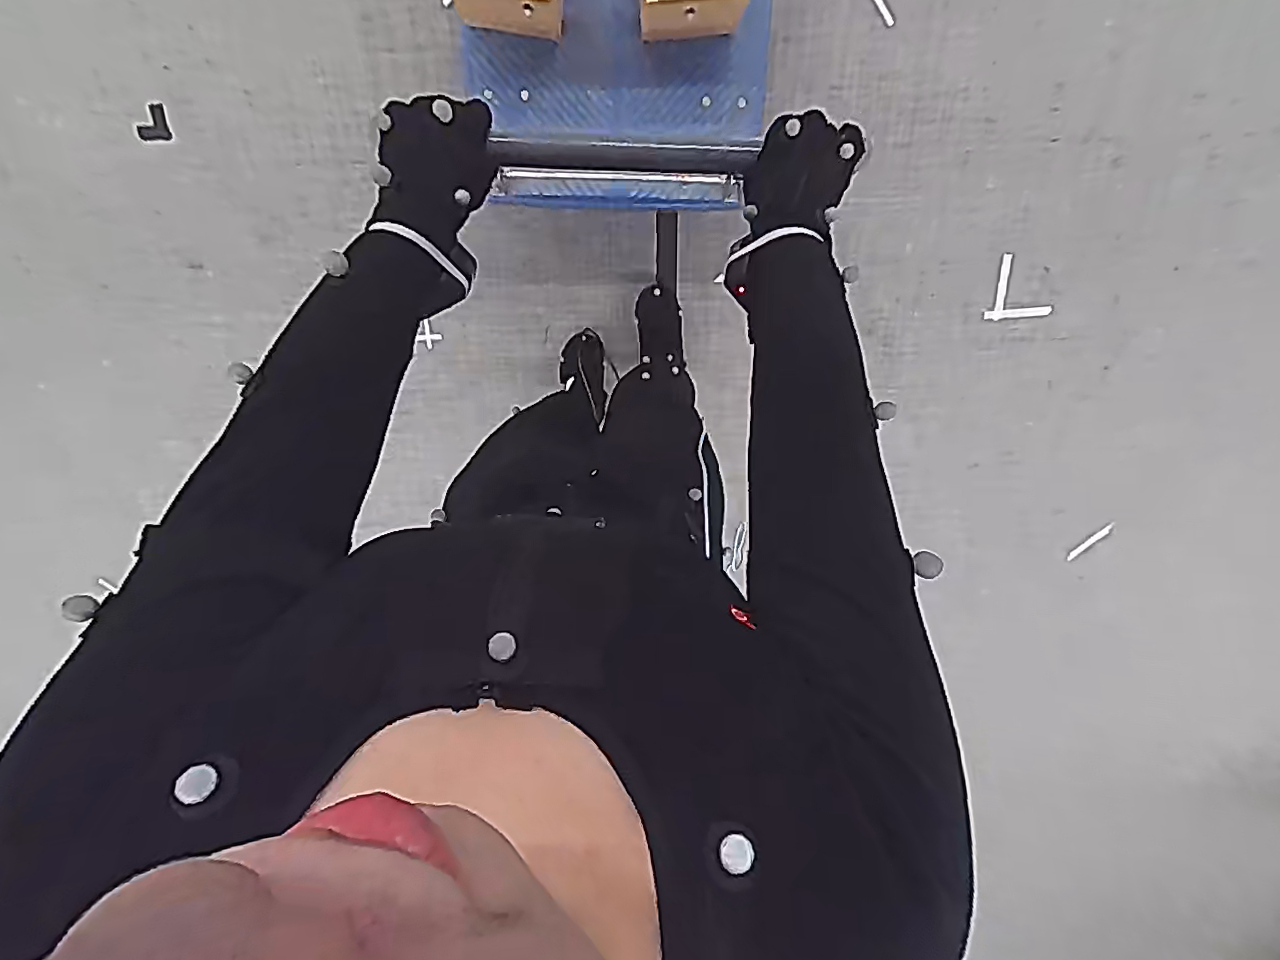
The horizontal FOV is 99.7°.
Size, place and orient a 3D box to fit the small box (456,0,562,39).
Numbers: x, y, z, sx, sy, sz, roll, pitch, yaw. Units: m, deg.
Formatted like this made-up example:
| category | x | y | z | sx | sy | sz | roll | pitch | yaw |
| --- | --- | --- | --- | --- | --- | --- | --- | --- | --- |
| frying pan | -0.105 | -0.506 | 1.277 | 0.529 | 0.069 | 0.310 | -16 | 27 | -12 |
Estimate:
| category | x | y | z | sx | sy | sz | roll | pitch | yaw |
| --- | --- | --- | --- | --- | --- | --- | --- | --- | --- |
| small box | -0.222 | -0.873 | 0.899 | 0.179 | 0.176 | 0.168 | 5 | 112 | -6 |

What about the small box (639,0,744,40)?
| category | x | y | z | sx | sy | sz | roll | pitch | yaw |
| --- | --- | --- | --- | --- | --- | --- | --- | --- | --- |
| small box | 0.085 | -0.874 | 0.913 | 0.179 | 0.176 | 0.168 | -5 | 113 | -1 |
